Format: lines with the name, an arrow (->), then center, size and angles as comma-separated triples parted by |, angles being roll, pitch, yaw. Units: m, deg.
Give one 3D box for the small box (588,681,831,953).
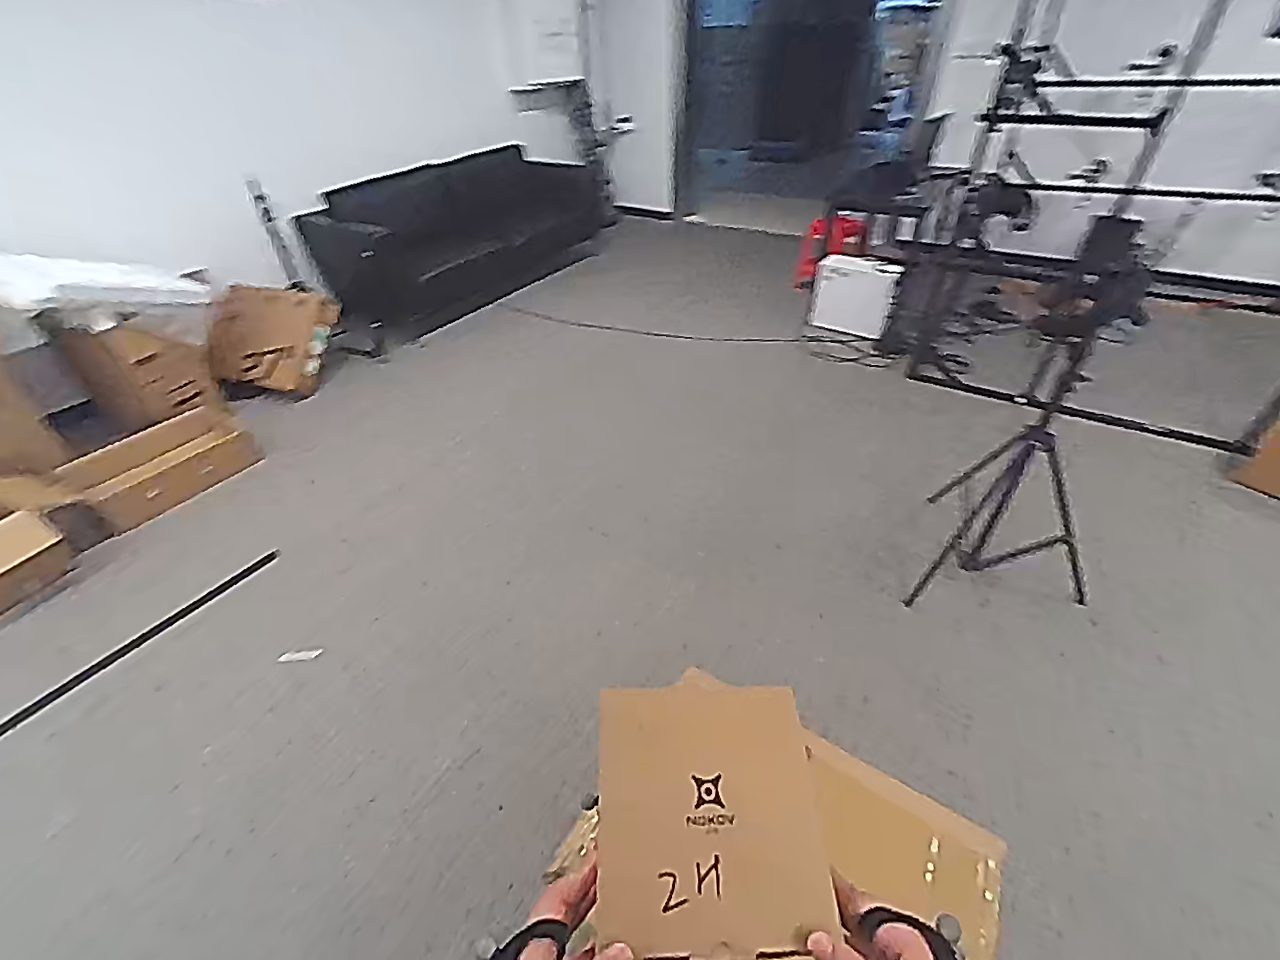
small box -> 0.040, 0.292, 0.469 | 0.168, 0.176, 0.179 | -1, 50, -3
